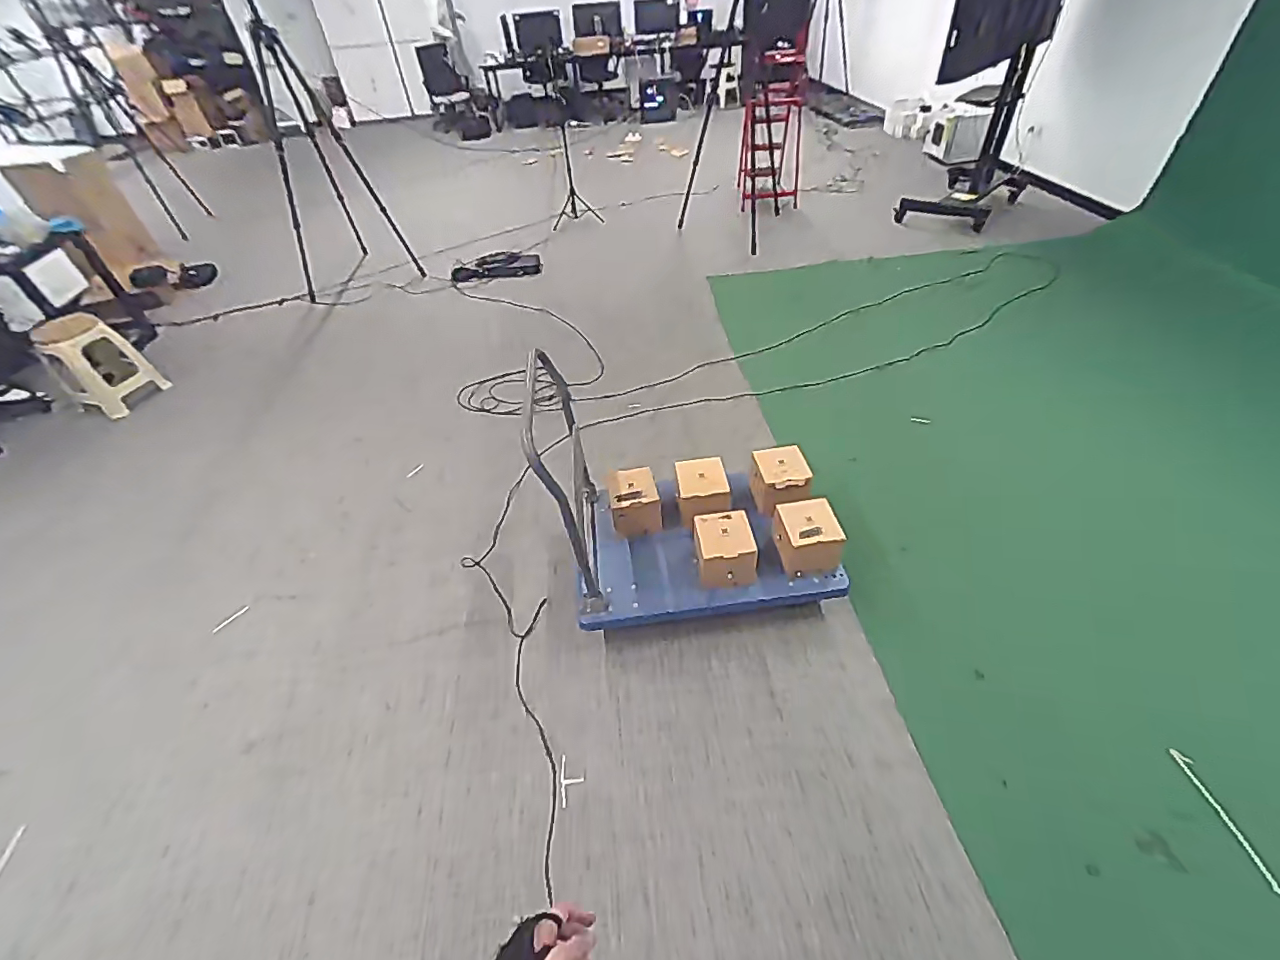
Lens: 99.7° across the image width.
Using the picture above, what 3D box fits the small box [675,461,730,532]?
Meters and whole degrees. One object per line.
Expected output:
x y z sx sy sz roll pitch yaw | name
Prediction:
0.215 0.059 1.909 0.168 0.176 0.179 -7 45 -1 | small box

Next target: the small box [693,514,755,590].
0.265 0.235 1.717 0.168 0.176 0.179 -6 44 -1 | small box

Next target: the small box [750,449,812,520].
0.492 0.017 1.917 0.168 0.176 0.179 -8 44 -1 | small box

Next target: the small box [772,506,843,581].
0.531 0.210 1.738 0.168 0.176 0.179 -8 43 -2 | small box
